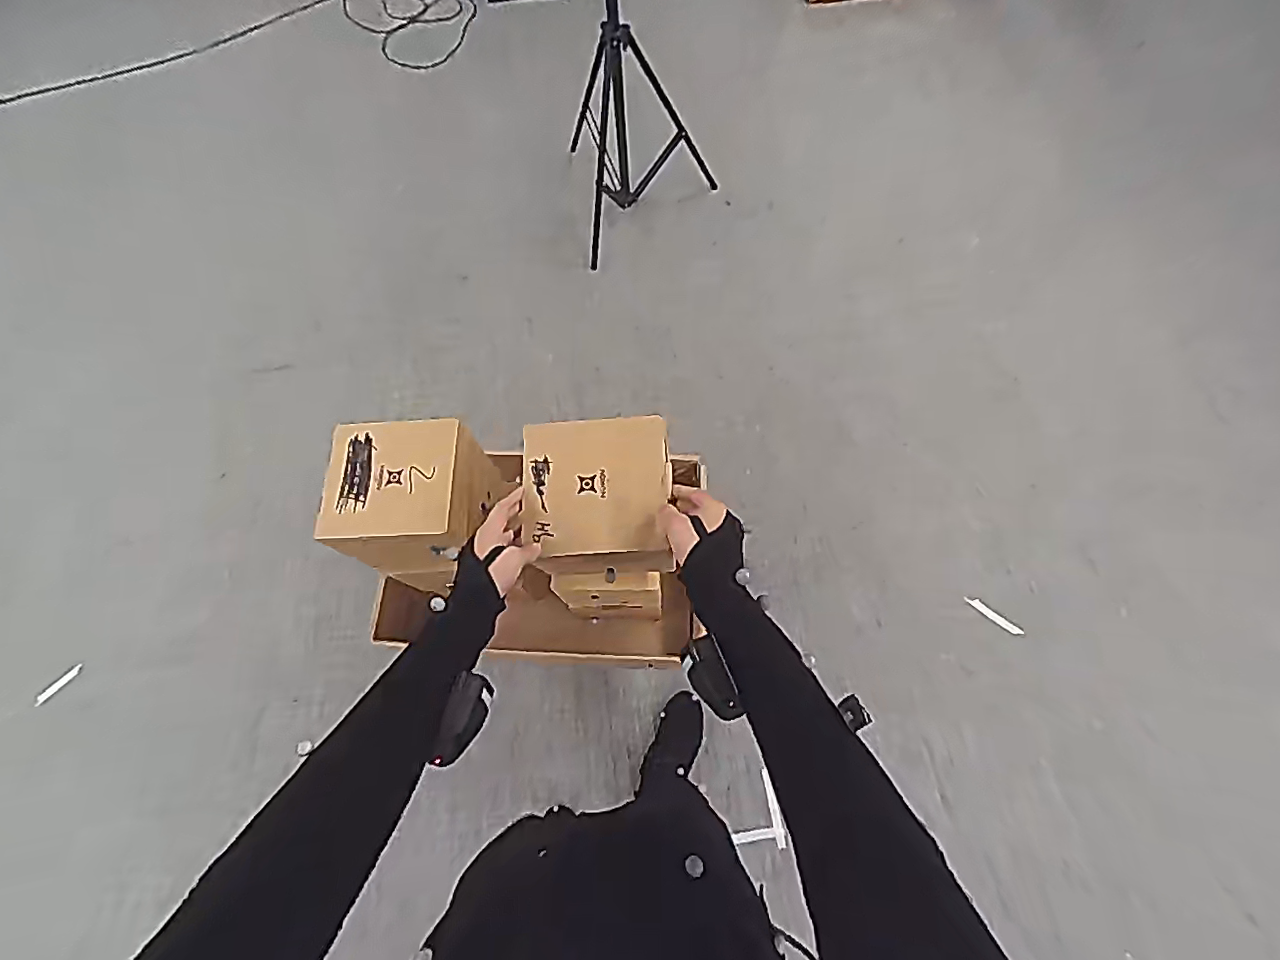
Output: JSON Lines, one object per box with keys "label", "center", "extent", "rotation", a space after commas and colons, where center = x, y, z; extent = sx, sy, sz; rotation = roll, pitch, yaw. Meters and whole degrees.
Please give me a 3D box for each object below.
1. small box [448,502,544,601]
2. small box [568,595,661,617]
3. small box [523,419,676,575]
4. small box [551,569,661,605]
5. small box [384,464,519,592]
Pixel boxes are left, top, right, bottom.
{"label": "small box", "center": [-0.296, 0.148, 1.086], "extent": [0.179, 0.176, 0.168], "rotation": [-1, 69, 2]}
{"label": "small box", "center": [-0.042, 0.175, 1.065], "extent": [0.168, 0.176, 0.179], "rotation": [-1, 68, 2]}
{"label": "small box", "center": [-0.044, 0.030, 0.711], "extent": [0.179, 0.176, 0.168], "rotation": [-3, 72, 3]}
{"label": "small box", "center": [-0.048, 0.114, 0.914], "extent": [0.168, 0.176, 0.179], "rotation": [0, 68, 2]}
{"label": "small box", "center": [-0.312, 0.088, 0.934], "extent": [0.168, 0.176, 0.179], "rotation": [-4, 69, 3]}
